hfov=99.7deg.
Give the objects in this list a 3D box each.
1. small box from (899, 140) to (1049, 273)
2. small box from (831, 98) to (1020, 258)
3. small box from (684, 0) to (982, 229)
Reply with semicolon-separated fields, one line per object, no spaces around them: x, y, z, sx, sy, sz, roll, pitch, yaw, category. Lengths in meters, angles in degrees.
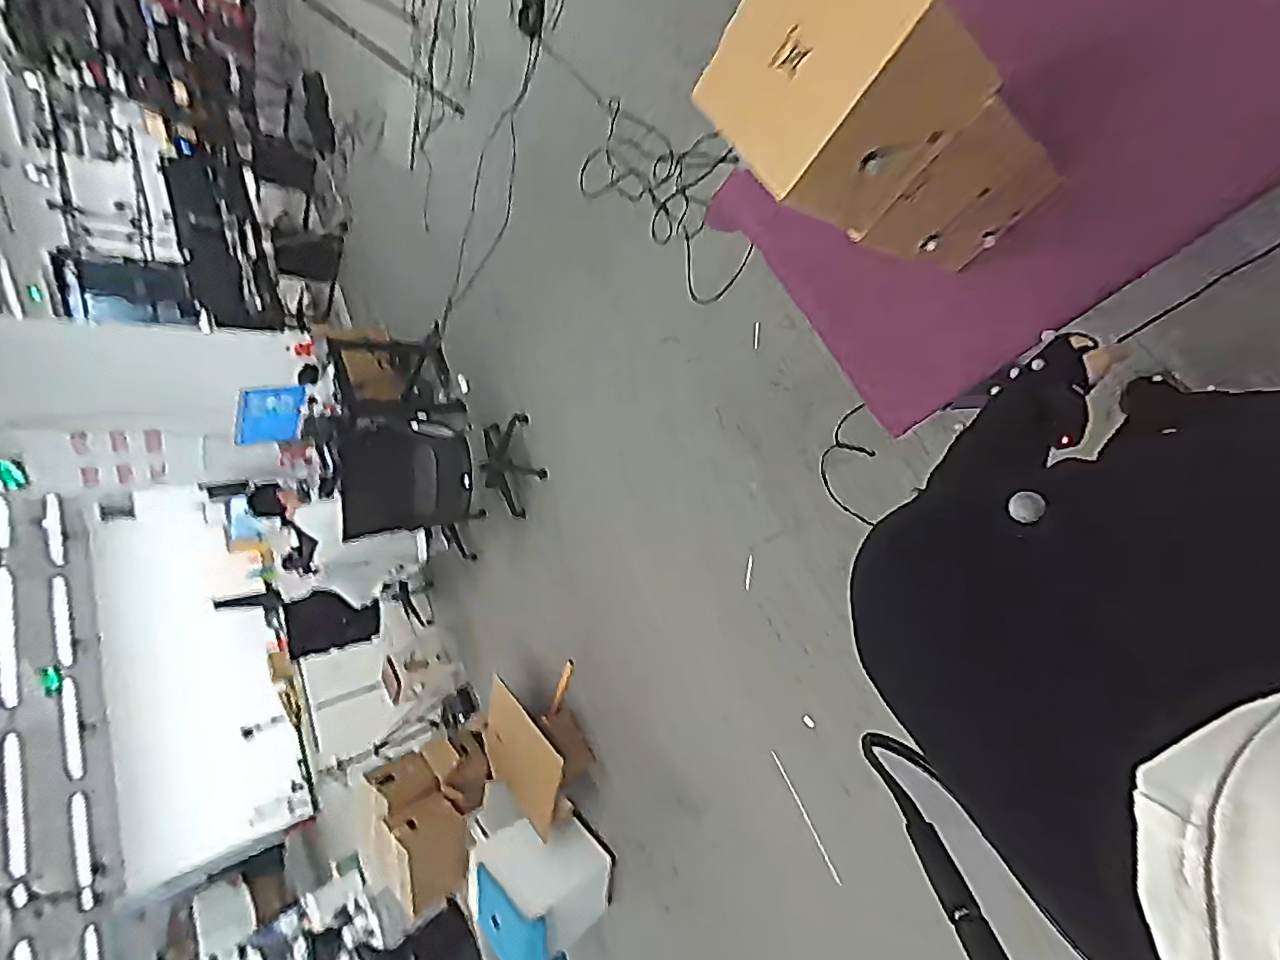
0.413;-0.411;0.745;0.168;0.176;0.179;-46;64;41;small box
0.297;-0.384;0.632;0.168;0.176;0.179;-46;63;41;small box
0.182;-0.368;0.519;0.168;0.176;0.179;-49;61;40;small box
